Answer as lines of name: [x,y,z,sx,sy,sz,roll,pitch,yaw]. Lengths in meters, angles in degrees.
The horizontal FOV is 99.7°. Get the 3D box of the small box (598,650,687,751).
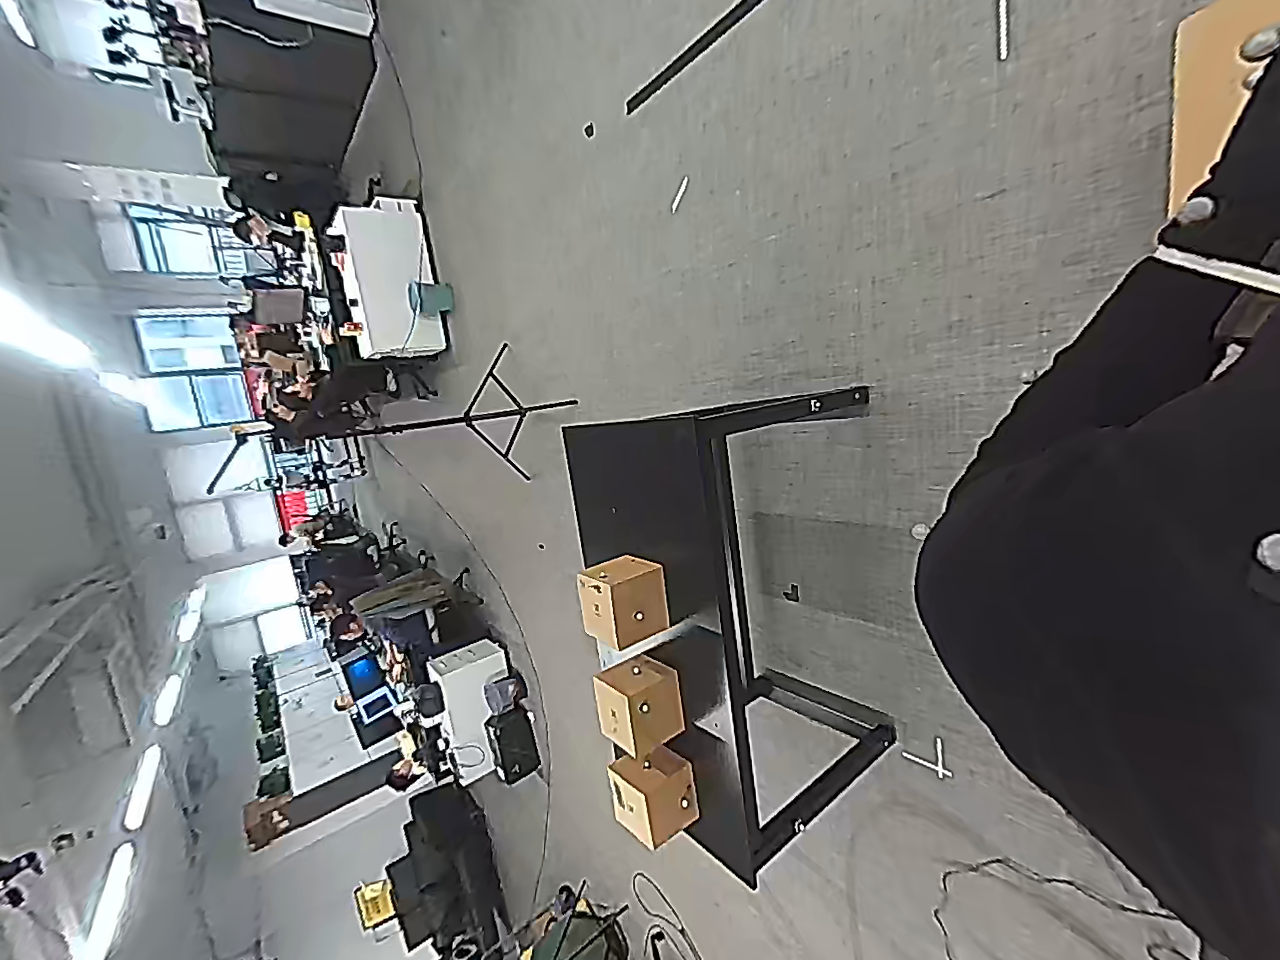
small box: [0.009,0.589,1.474,0.168,0.176,0.179,3,105,54]

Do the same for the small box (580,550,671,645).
small box: [-0.034,0.303,1.430,0.168,0.176,0.179,6,108,53]

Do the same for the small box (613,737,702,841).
small box: [0.050,0.850,1.515,0.179,0.176,0.168,0,102,53]
